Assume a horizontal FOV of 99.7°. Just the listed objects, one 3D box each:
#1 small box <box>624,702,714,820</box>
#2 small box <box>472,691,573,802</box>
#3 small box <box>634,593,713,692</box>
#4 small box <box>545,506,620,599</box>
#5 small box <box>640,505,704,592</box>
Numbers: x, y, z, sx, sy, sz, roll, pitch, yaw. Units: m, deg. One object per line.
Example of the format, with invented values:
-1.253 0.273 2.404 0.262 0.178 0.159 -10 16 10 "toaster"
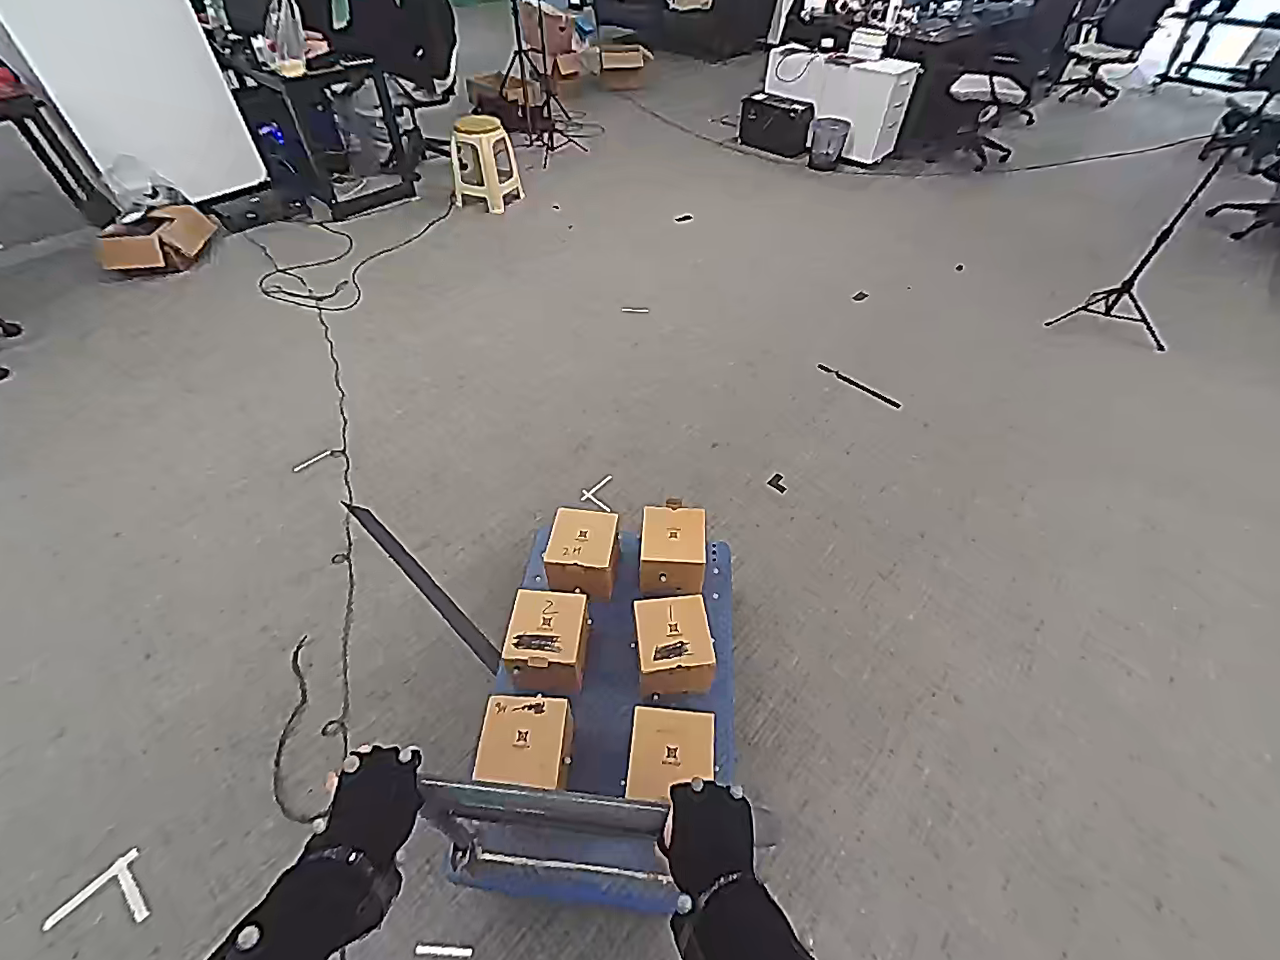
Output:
0.061 0.587 1.123 0.168 0.176 0.179 6 48 4 "small box"
-0.236 0.563 1.136 0.168 0.176 0.179 3 49 1 "small box"
0.075 0.394 1.293 0.168 0.176 0.179 -4 48 -5 "small box"
-0.148 0.196 1.462 0.168 0.176 0.179 6 50 5 "small box"
0.086 0.190 1.474 0.168 0.176 0.179 3 49 2 "small box"
